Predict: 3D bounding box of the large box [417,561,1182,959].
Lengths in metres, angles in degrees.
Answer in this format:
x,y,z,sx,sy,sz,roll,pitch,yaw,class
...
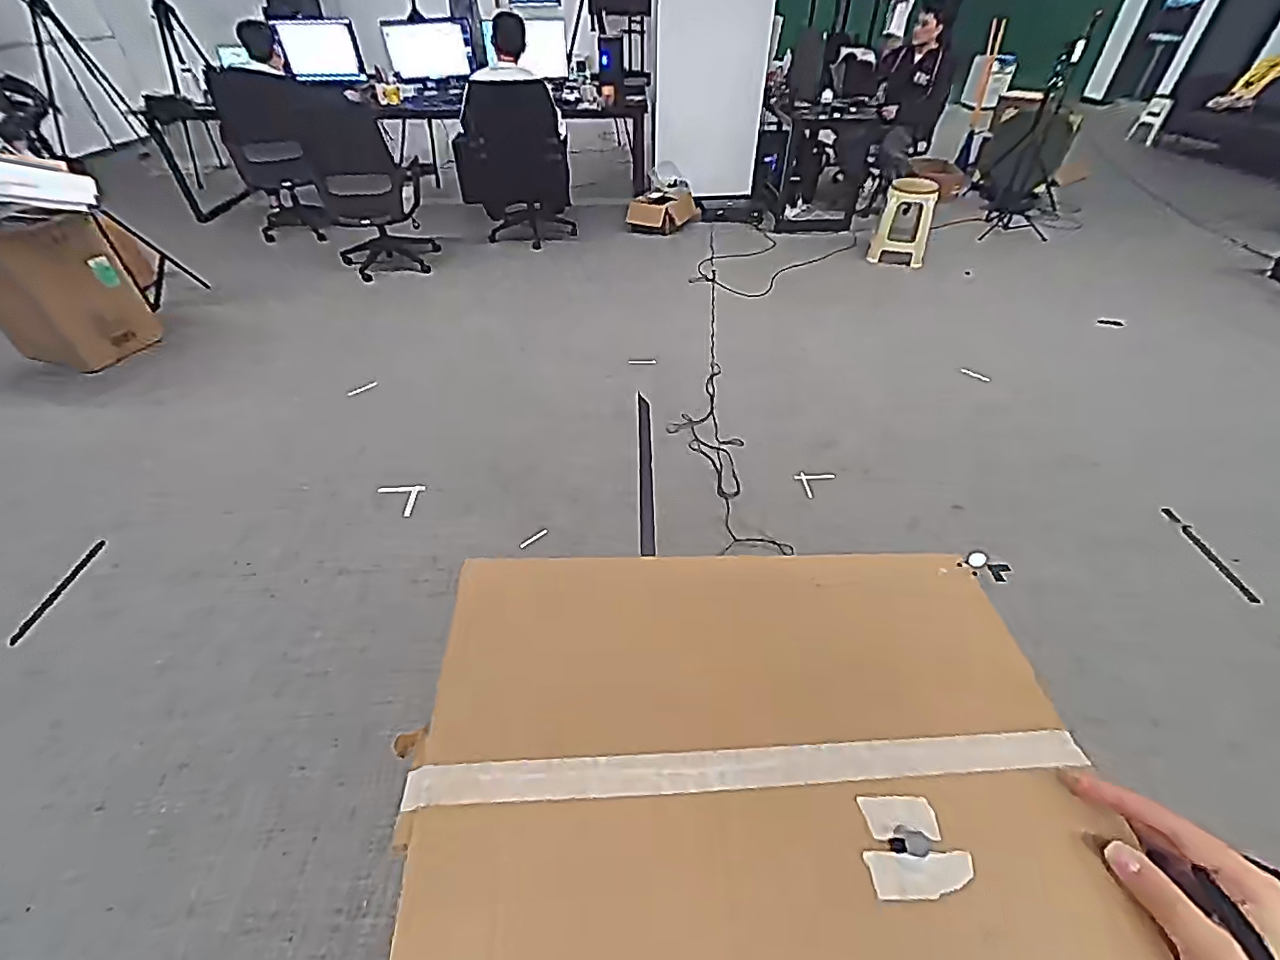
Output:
x,y,z,sx,sy,sz,roll,pitch,yaw,class
0.066,0.284,0.441,0.408,0.320,0.320,0,46,-7,large box
